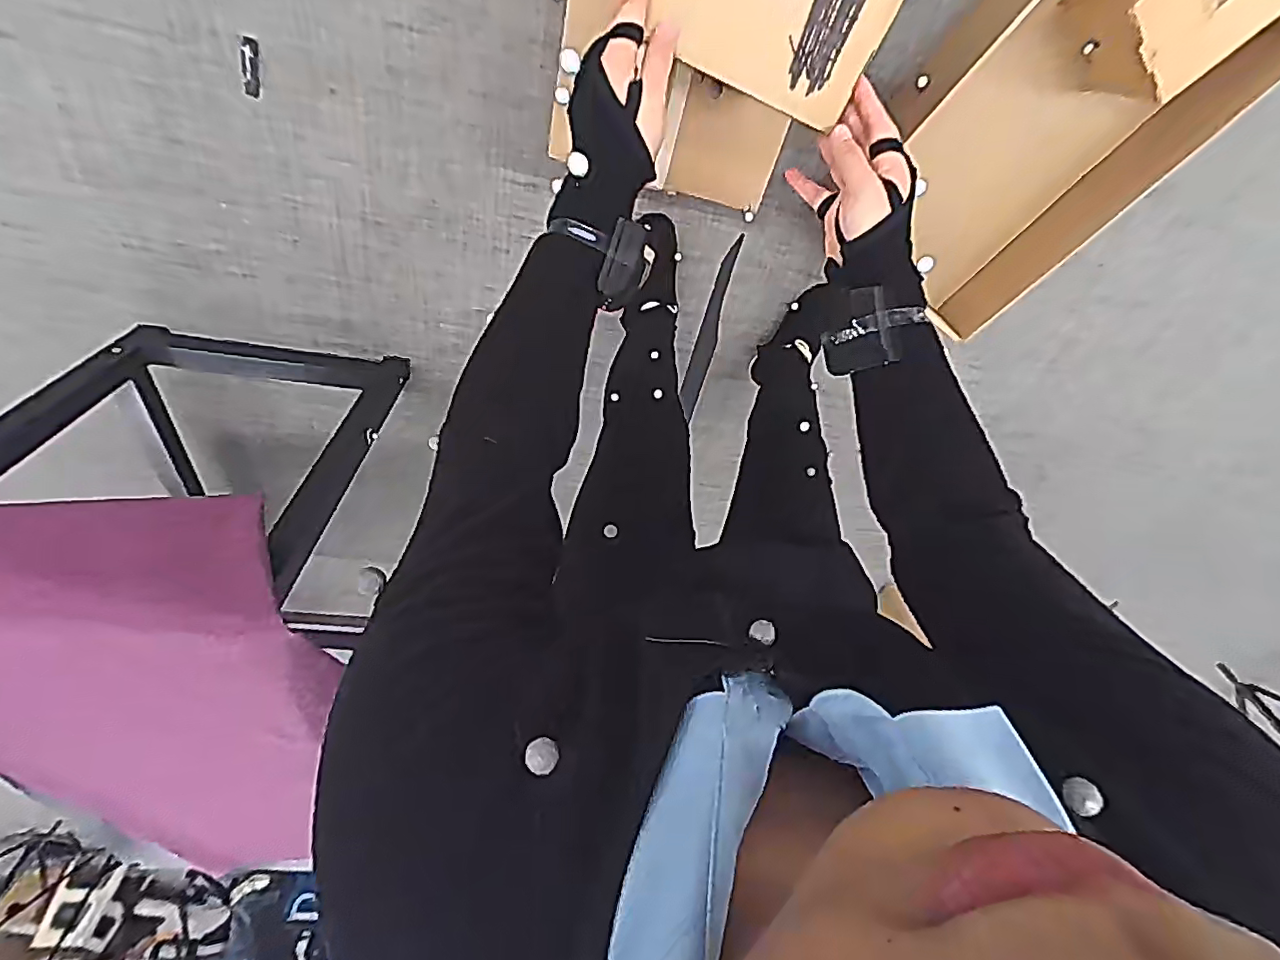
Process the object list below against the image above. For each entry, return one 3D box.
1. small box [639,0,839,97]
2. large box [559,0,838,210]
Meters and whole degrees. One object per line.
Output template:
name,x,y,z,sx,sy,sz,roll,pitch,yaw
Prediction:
small box,0.103,-0.525,0.551,0.179,0.176,0.168,12,131,-14
large box,0.075,-0.666,0.755,0.320,0.320,0.408,10,131,-10
